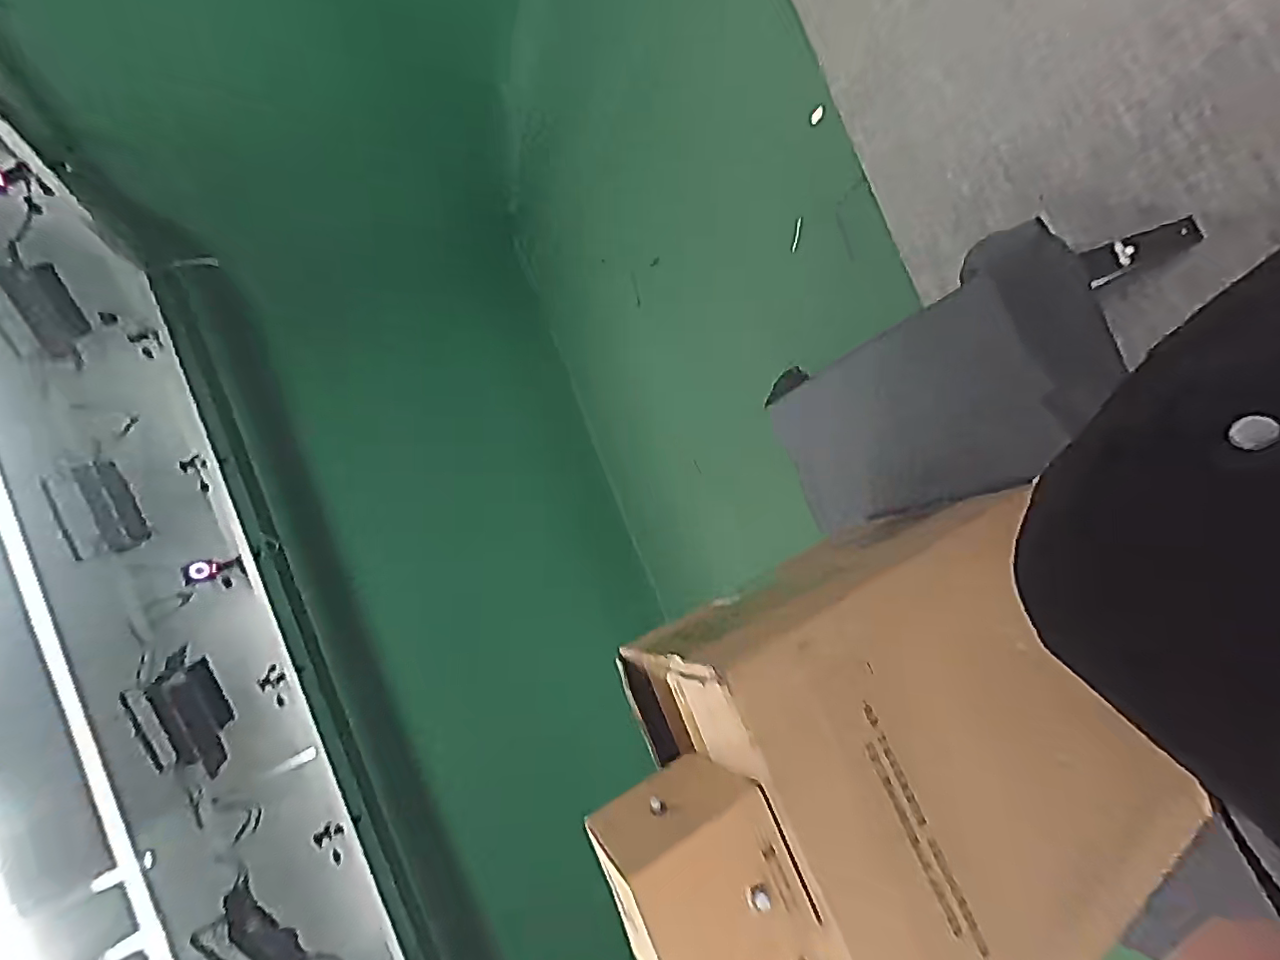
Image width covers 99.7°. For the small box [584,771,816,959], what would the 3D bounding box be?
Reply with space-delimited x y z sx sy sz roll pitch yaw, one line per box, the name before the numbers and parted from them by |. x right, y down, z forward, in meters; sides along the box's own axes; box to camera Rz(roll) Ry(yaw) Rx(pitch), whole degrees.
small box | 0.061 0.461 0.610 0.168 0.176 0.179 67 155 6
